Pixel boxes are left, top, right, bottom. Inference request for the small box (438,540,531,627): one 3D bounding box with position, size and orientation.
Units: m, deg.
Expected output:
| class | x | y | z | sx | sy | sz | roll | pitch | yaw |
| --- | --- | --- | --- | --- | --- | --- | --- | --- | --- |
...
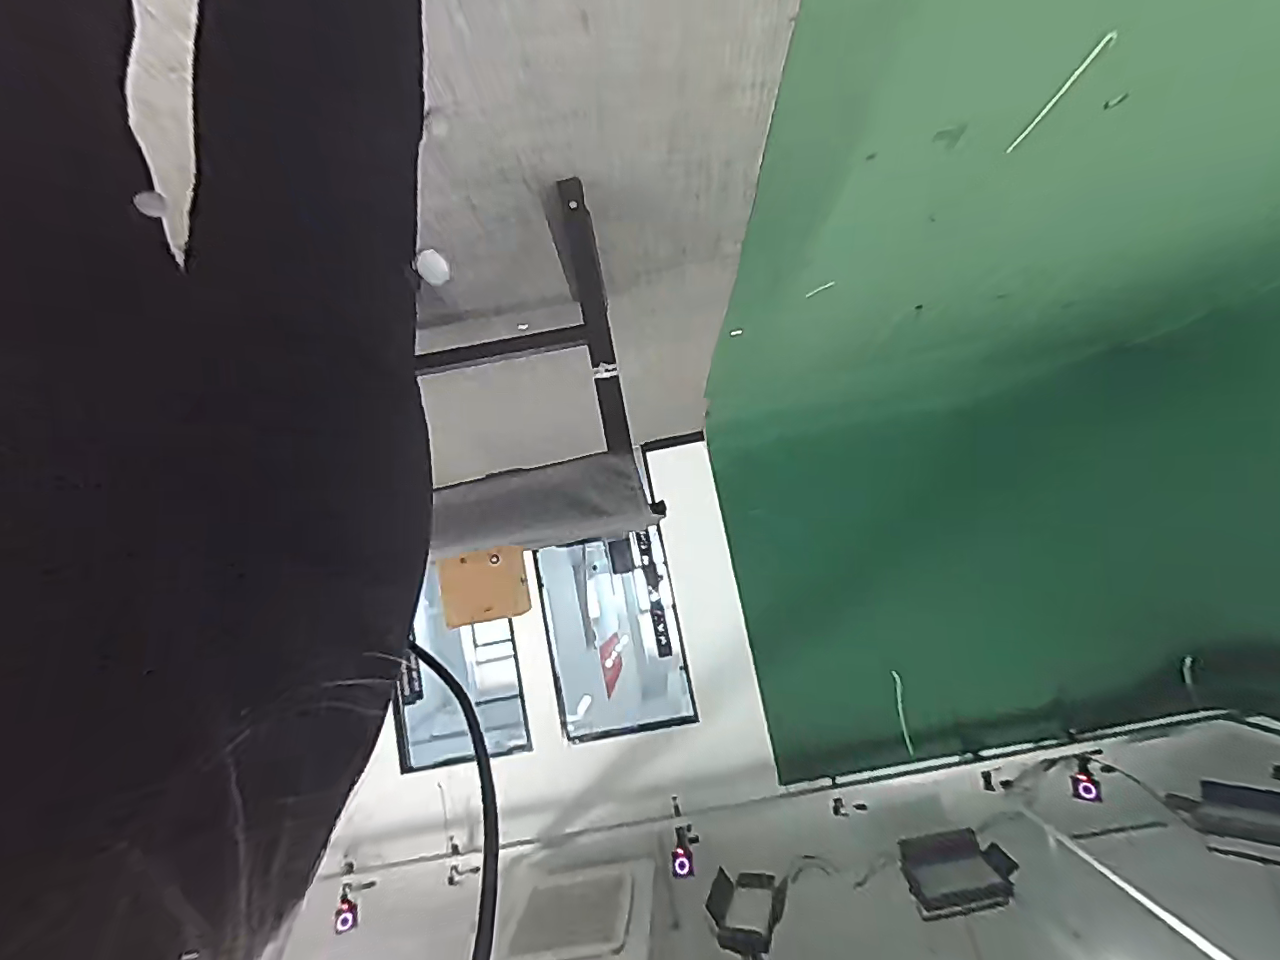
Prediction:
| class | x | y | z | sx | sy | sz | roll | pitch | yaw |
| --- | --- | --- | --- | --- | --- | --- | --- | --- | --- |
| small box | -0.369 | 0.241 | 1.294 | 0.168 | 0.176 | 0.179 | -10 | 174 | -3 |
